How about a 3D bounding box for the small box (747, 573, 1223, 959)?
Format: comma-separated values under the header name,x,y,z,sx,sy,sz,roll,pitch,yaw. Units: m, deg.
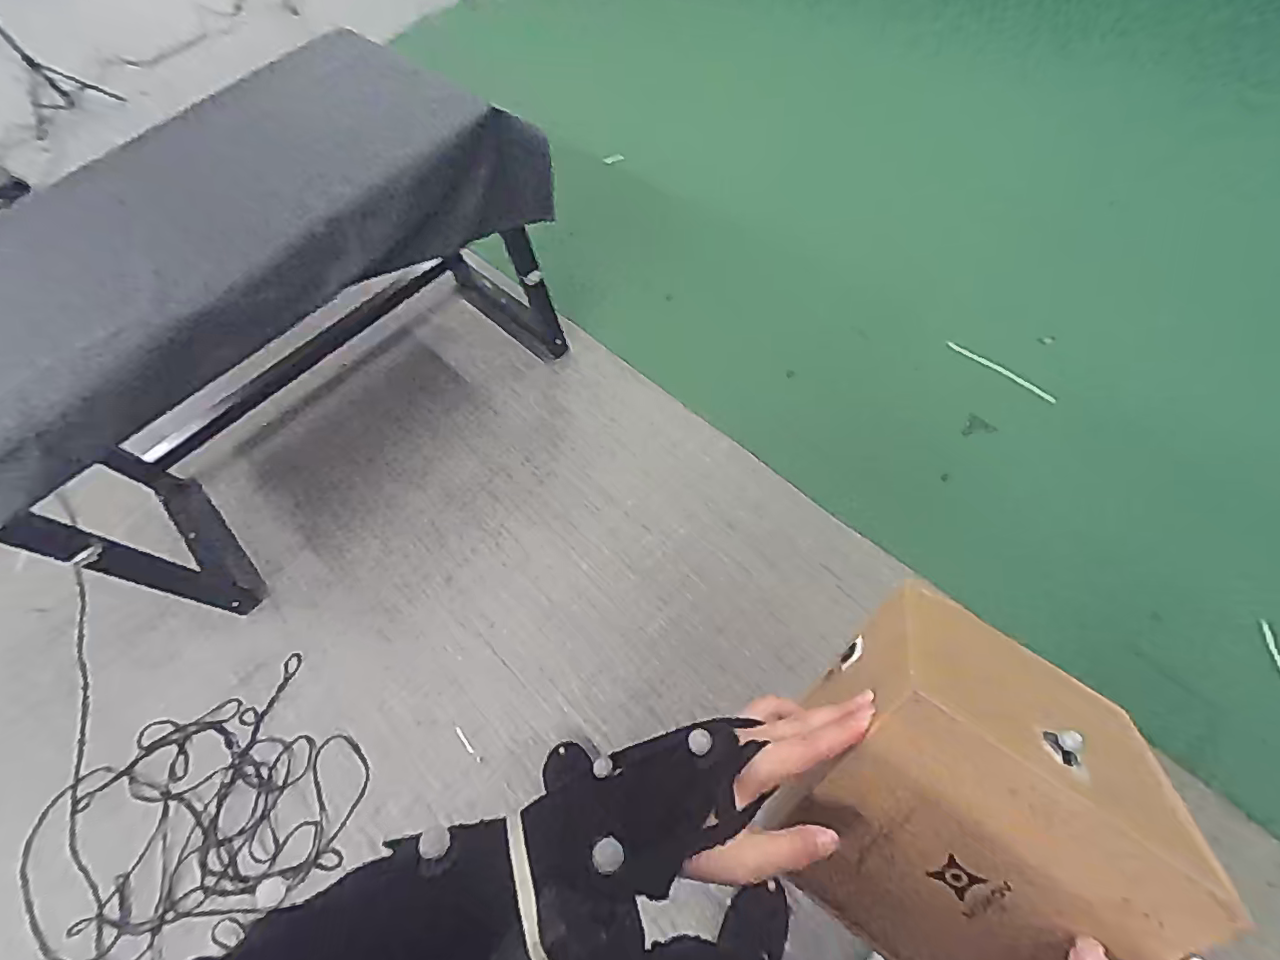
name,x,y,z,sx,sy,sz,roll,pitch,yaw
small box,0.205,0.193,0.376,0.179,0.176,0.168,33,114,14
